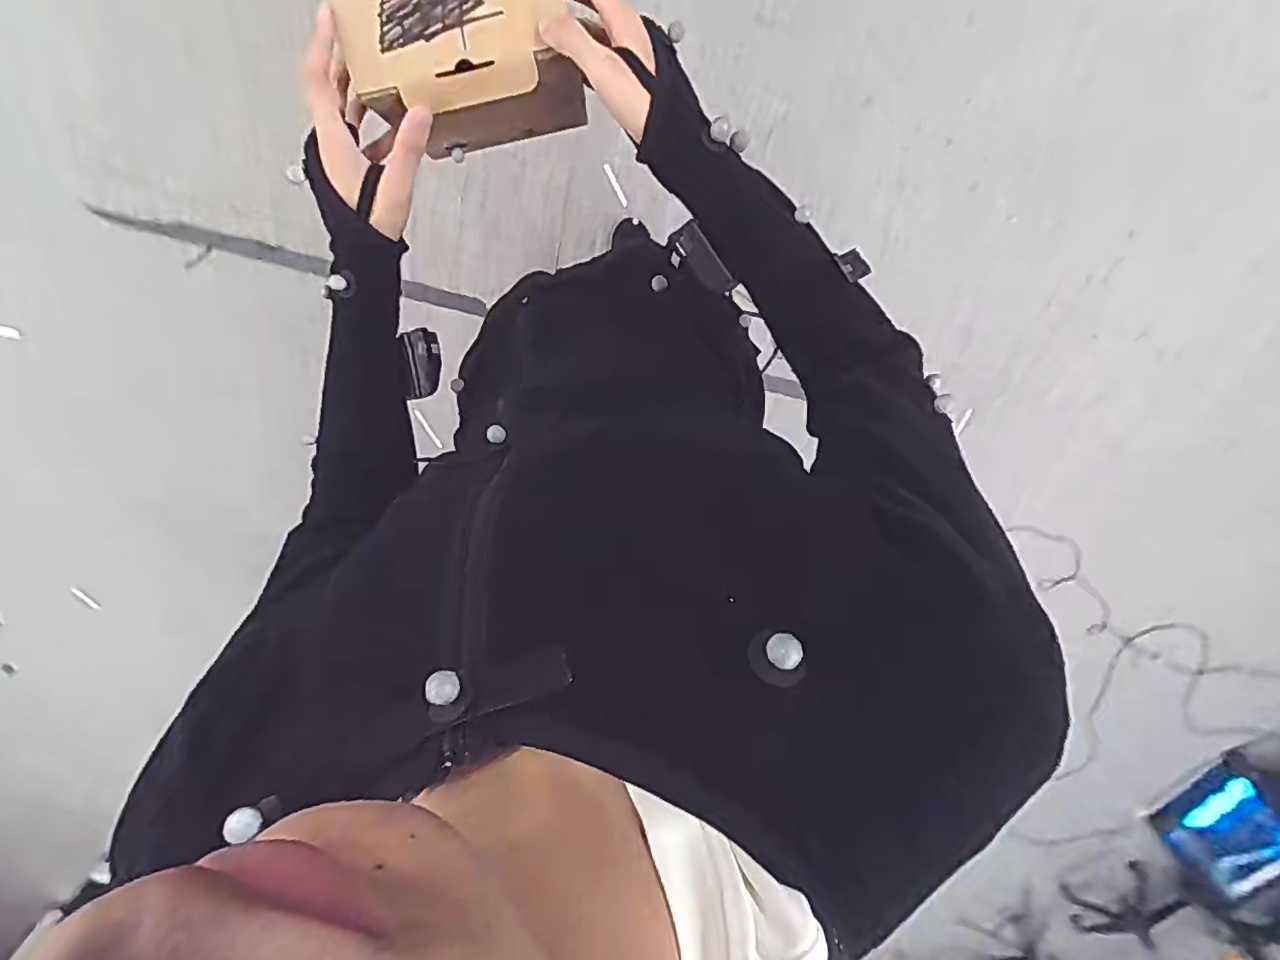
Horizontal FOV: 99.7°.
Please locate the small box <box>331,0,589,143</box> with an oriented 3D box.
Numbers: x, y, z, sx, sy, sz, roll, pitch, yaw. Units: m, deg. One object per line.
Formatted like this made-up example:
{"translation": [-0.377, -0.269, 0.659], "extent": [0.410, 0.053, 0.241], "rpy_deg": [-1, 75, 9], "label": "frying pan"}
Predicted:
{"translation": [-0.140, -0.399, 0.438], "extent": [0.168, 0.176, 0.179], "rpy_deg": [-11, 106, 1], "label": "small box"}
